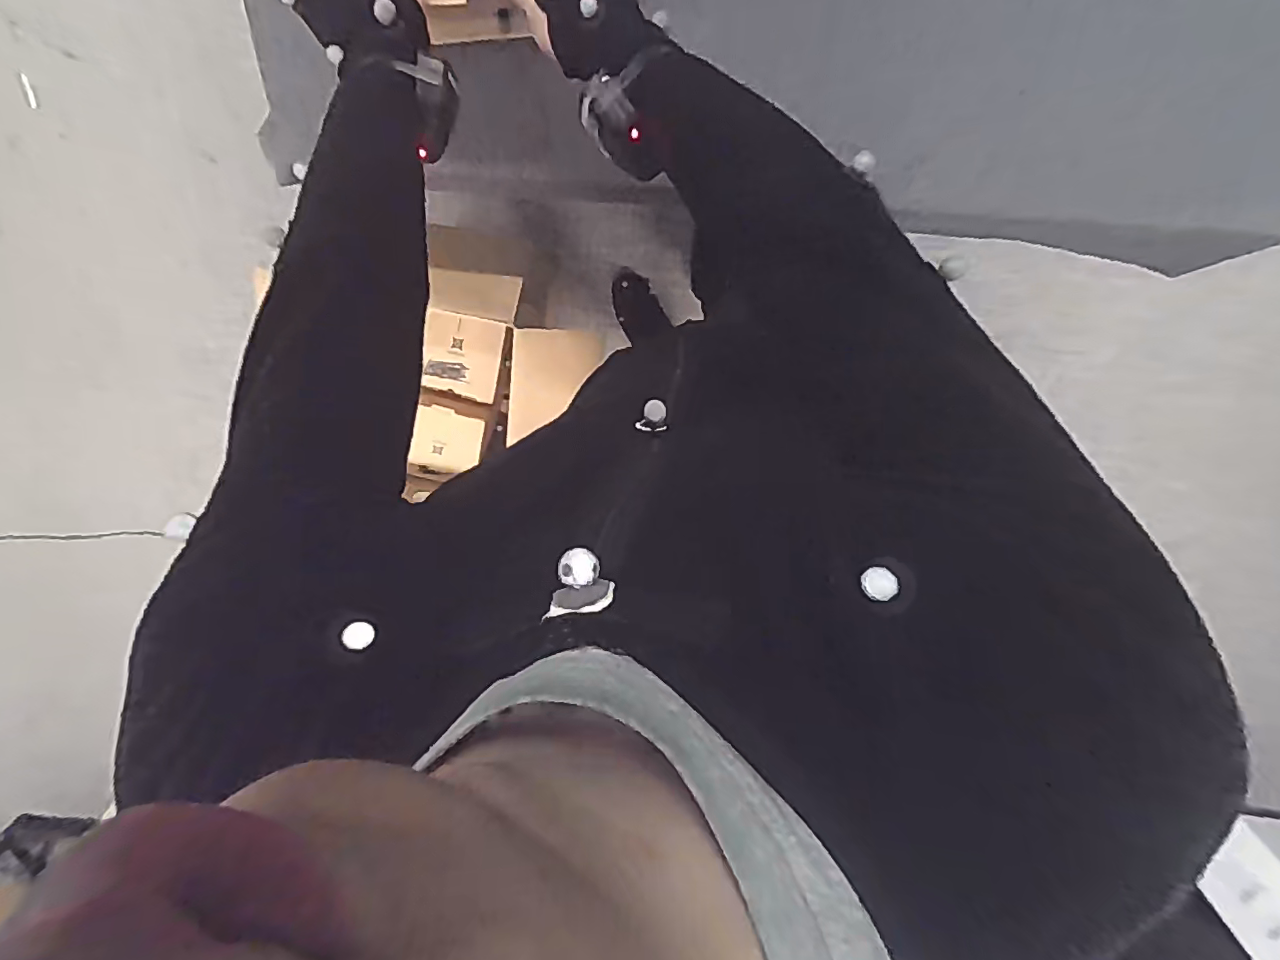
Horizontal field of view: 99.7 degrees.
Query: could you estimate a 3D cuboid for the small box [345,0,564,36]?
[{"bbox_3d":[-0.166,-0.508,0.463,0.168,0.176,0.179,-3,118,3],"label":"small box"}]
